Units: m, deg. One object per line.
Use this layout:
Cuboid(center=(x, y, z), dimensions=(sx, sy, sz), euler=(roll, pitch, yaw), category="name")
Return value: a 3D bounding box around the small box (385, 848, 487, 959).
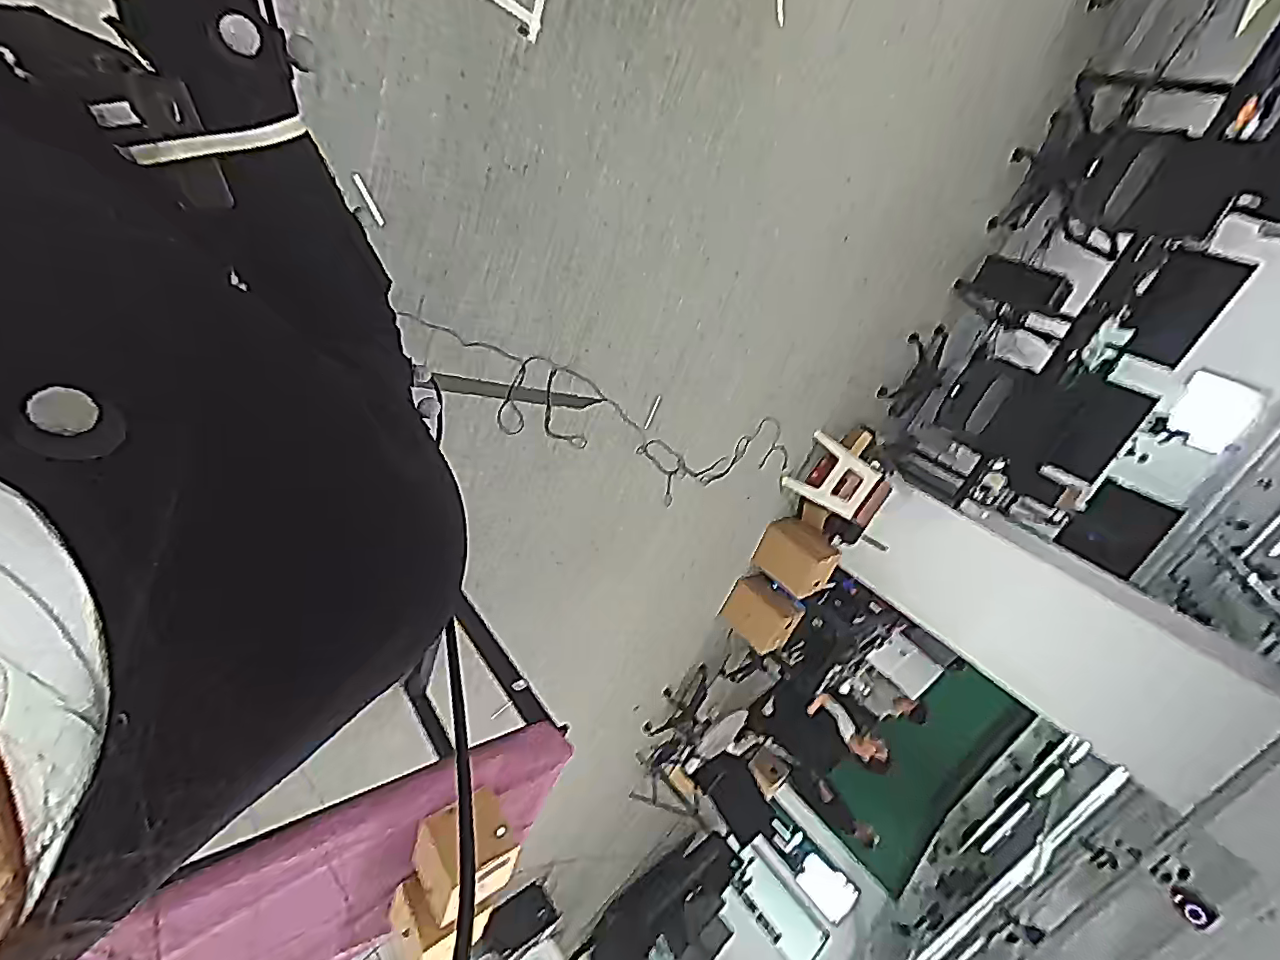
Cuboid(center=(-0.516, 1.081, 1.354), dimensions=(0.179, 0.176, 0.168), euler=(-5, 125, -45), category="small box")
